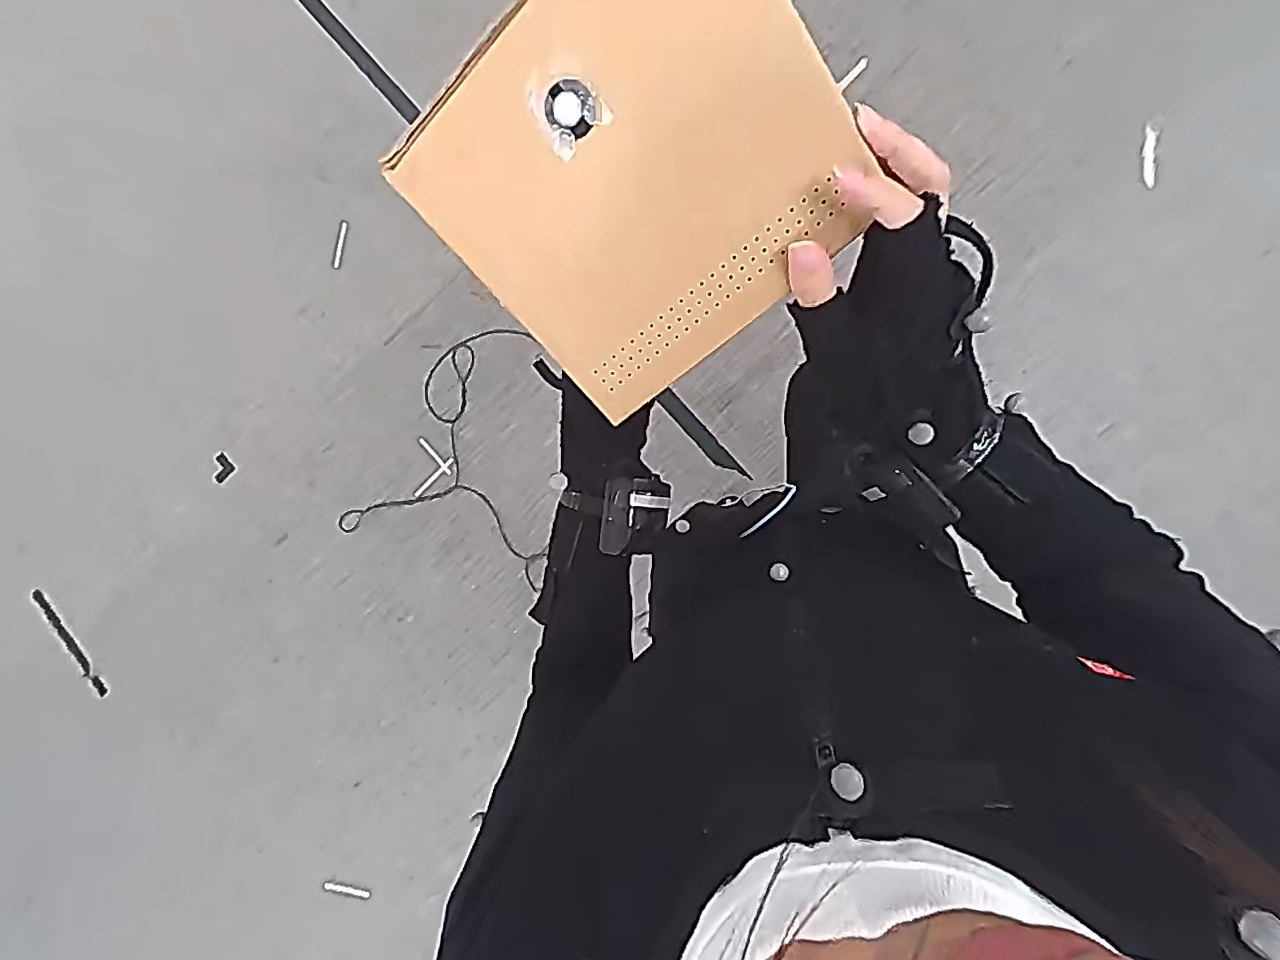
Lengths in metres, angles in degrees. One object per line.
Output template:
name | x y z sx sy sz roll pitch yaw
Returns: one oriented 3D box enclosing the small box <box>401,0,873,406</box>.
small box | 0.003 -0.175 0.330 0.179 0.168 0.176 -35 114 20
